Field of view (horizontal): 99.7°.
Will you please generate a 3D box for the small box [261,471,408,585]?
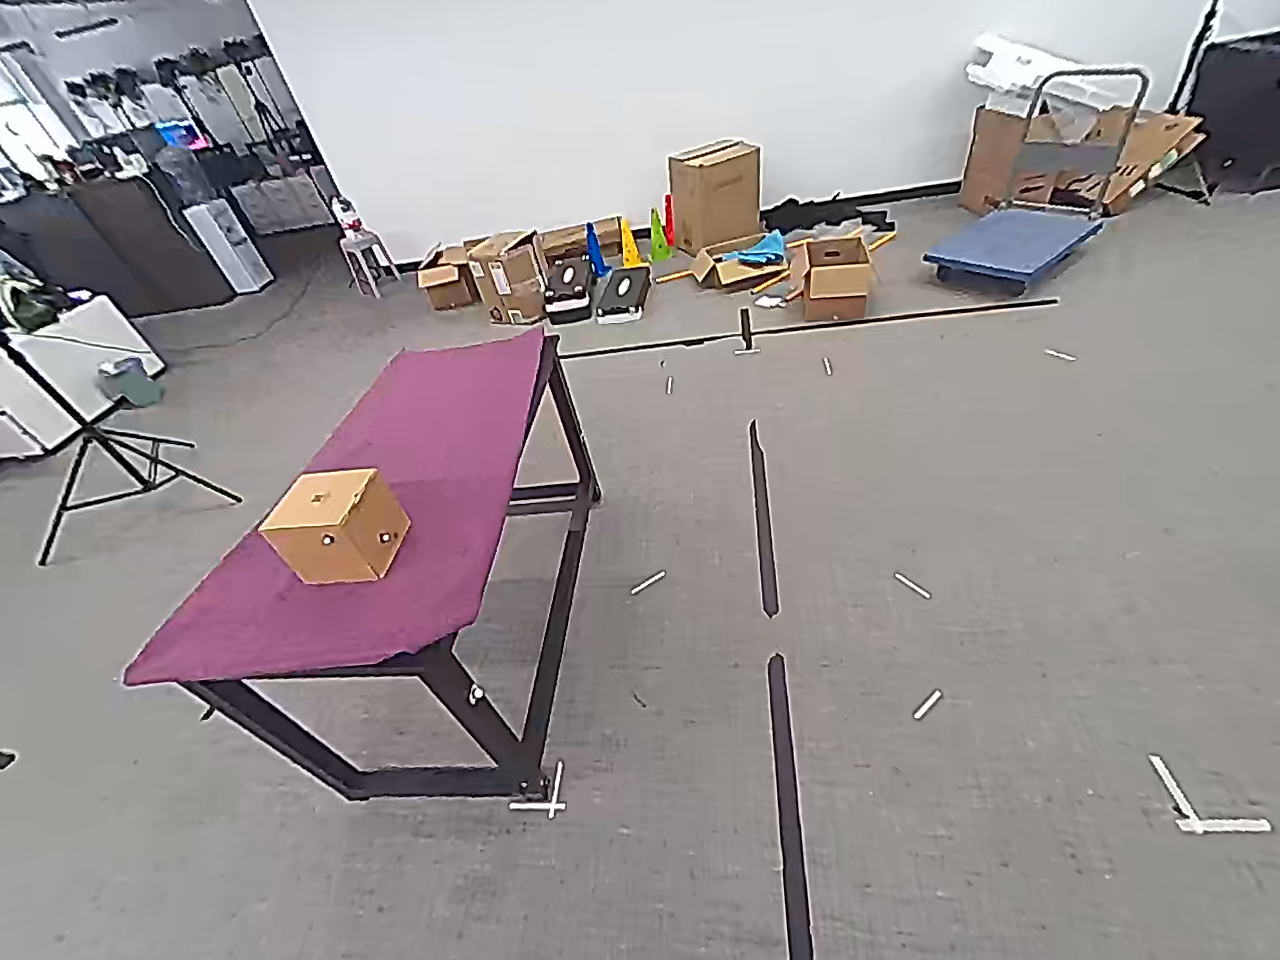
[{"bbox_3d":[-0.621,0.103,1.125,0.179,0.176,0.168,-5,41,7],"label":"small box"}]
